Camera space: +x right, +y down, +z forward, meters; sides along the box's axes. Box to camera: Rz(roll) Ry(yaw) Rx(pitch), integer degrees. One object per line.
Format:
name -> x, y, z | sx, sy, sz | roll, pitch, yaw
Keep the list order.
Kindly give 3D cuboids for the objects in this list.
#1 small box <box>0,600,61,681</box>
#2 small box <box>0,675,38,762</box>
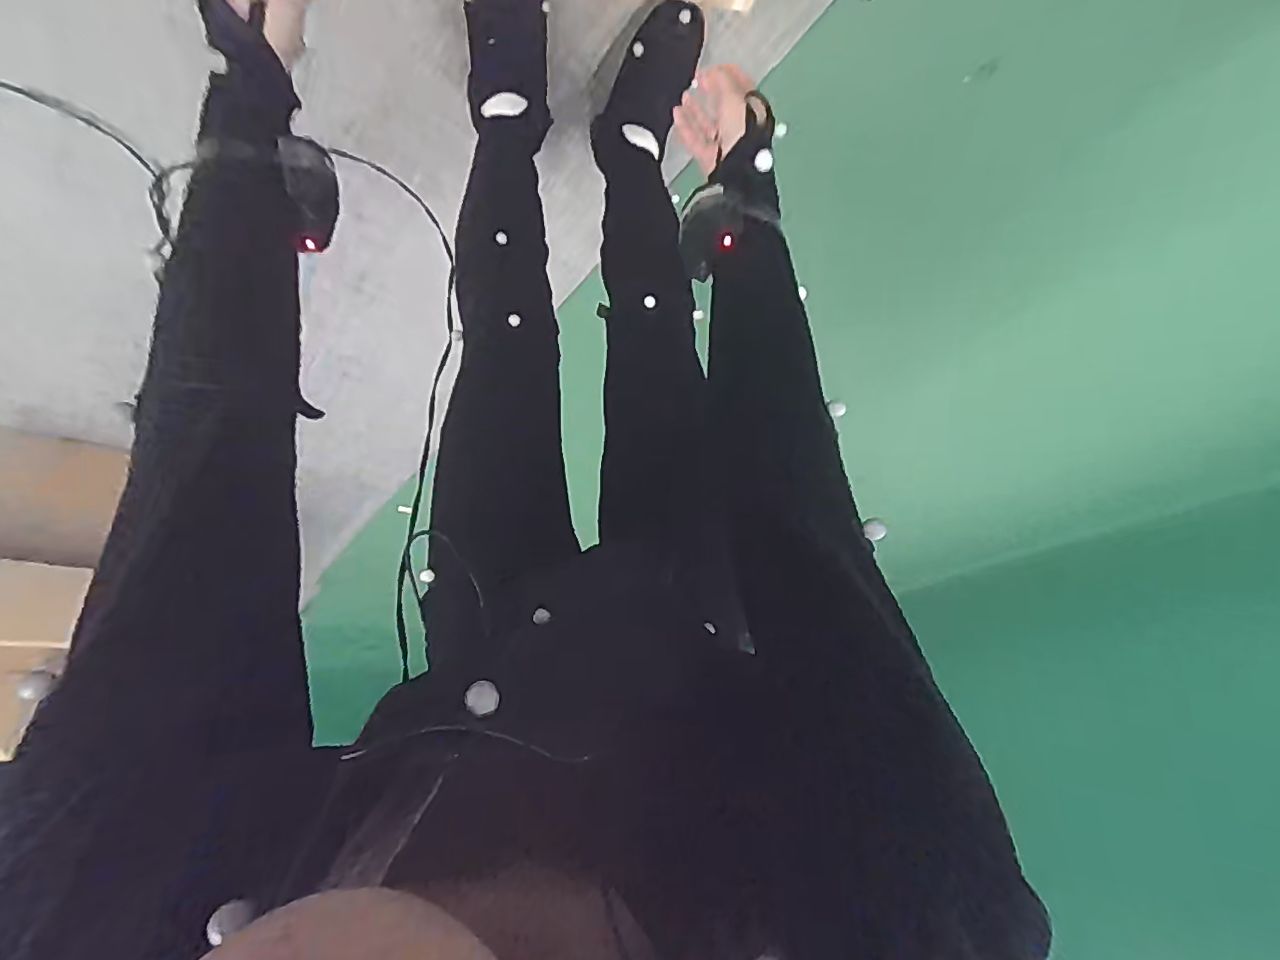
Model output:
small box -> -1.528, 0.392, 1.289 | 0.168, 0.176, 0.179 | 17, 142, -38
small box -> -1.505, 0.534, 1.211 | 0.168, 0.176, 0.179 | 16, 142, -36
